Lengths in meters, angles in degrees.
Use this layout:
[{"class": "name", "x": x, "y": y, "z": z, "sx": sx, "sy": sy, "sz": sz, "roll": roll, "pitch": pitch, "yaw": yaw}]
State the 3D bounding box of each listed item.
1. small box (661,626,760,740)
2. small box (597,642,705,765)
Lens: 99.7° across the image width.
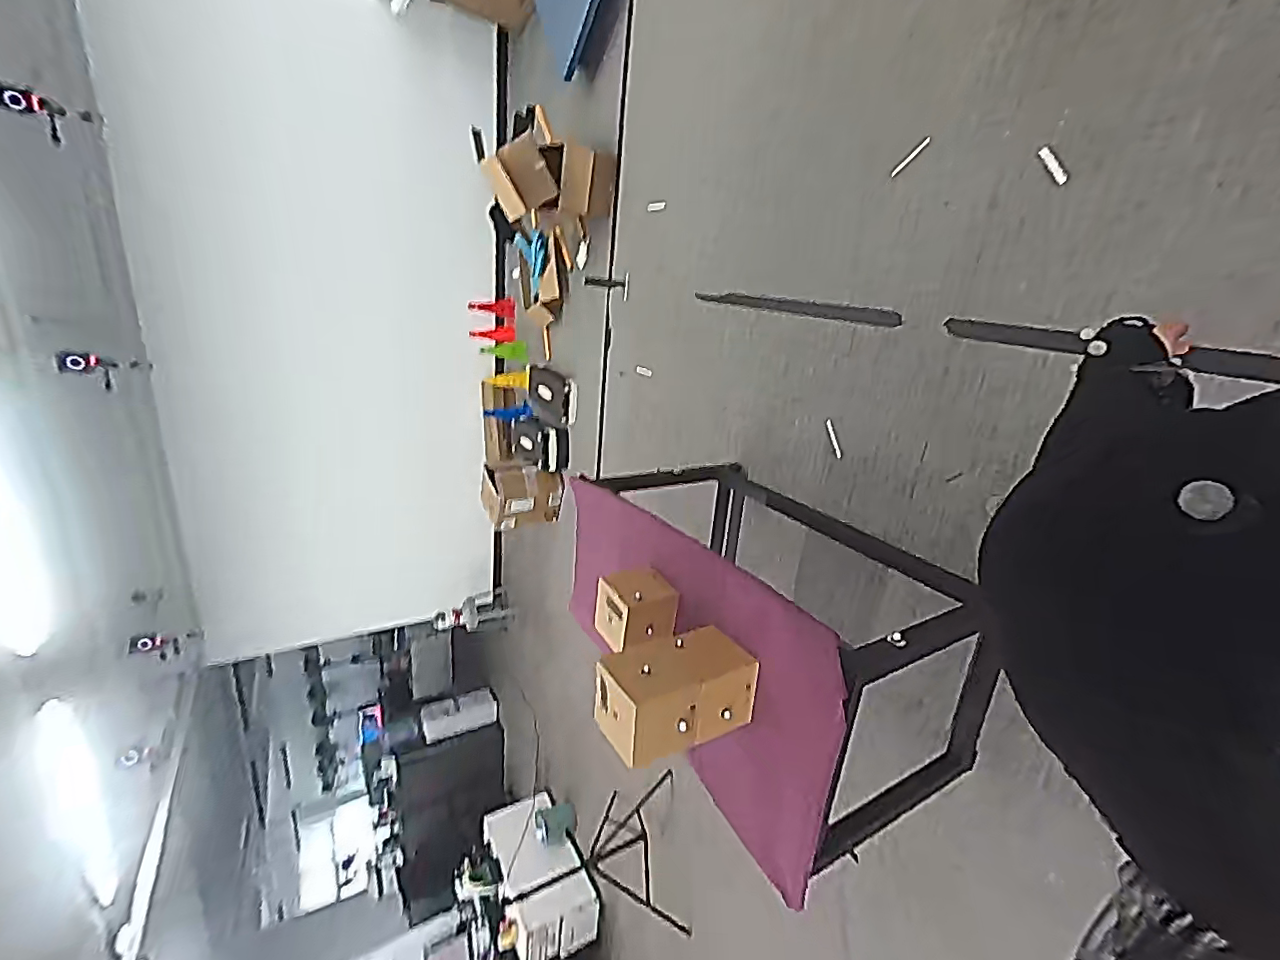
[{"class": "small box", "x": 0.161, "y": 0.466, "z": 1.274, "sx": 0.179, "sy": 0.176, "sz": 0.168, "roll": 29, "pitch": 120, "yaw": 55}, {"class": "small box", "x": 0.020, "y": 0.477, "z": 1.191, "sx": 0.179, "sy": 0.176, "sz": 0.168, "roll": 28, "pitch": 120, "yaw": 54}]
